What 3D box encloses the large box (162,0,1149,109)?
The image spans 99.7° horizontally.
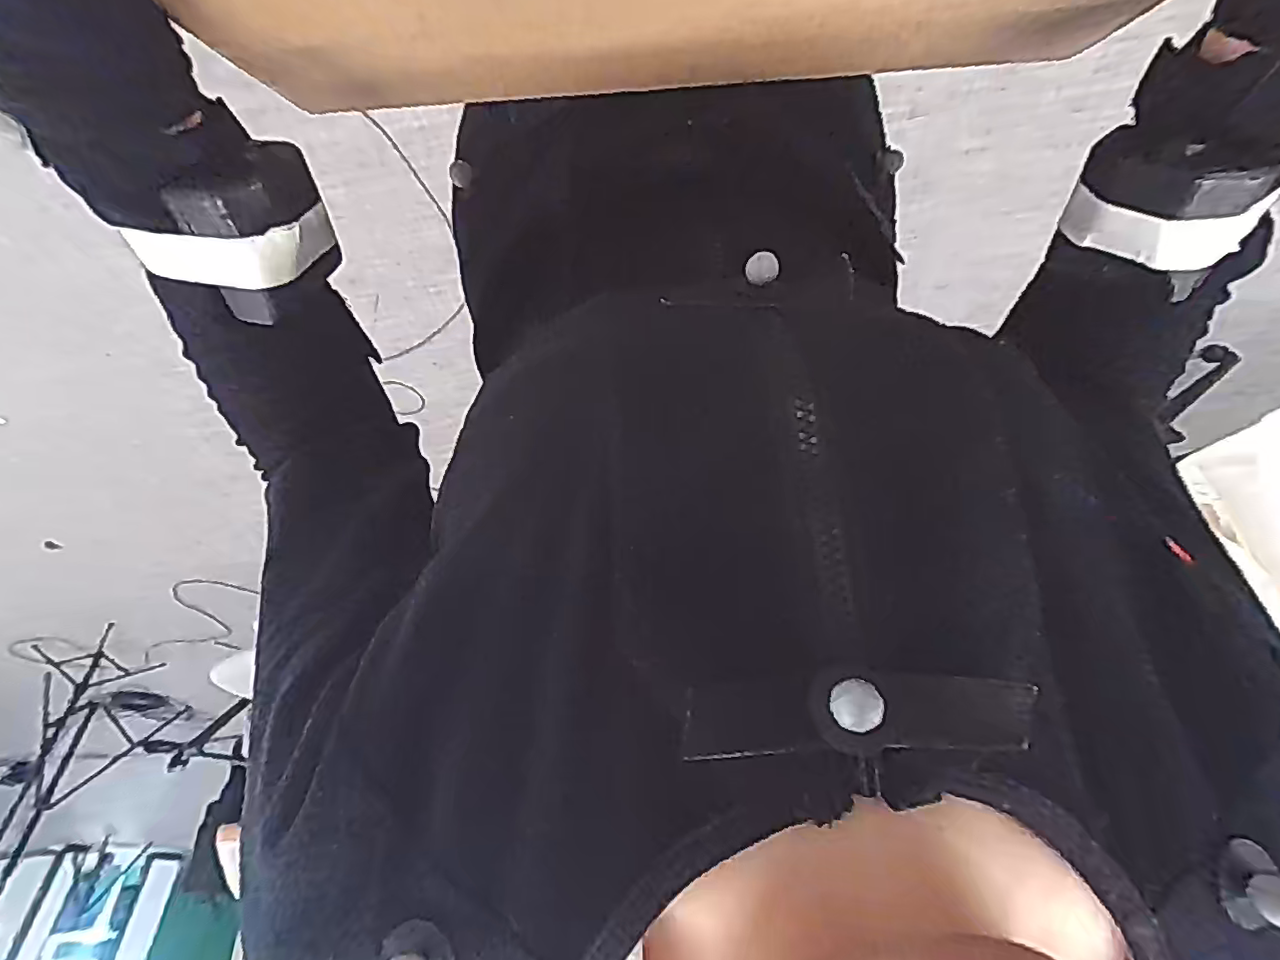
[{"bbox_3d":[0.013,-0.322,0.106,0.408,0.320,0.320,-3,105,1],"label":"large box"}]
